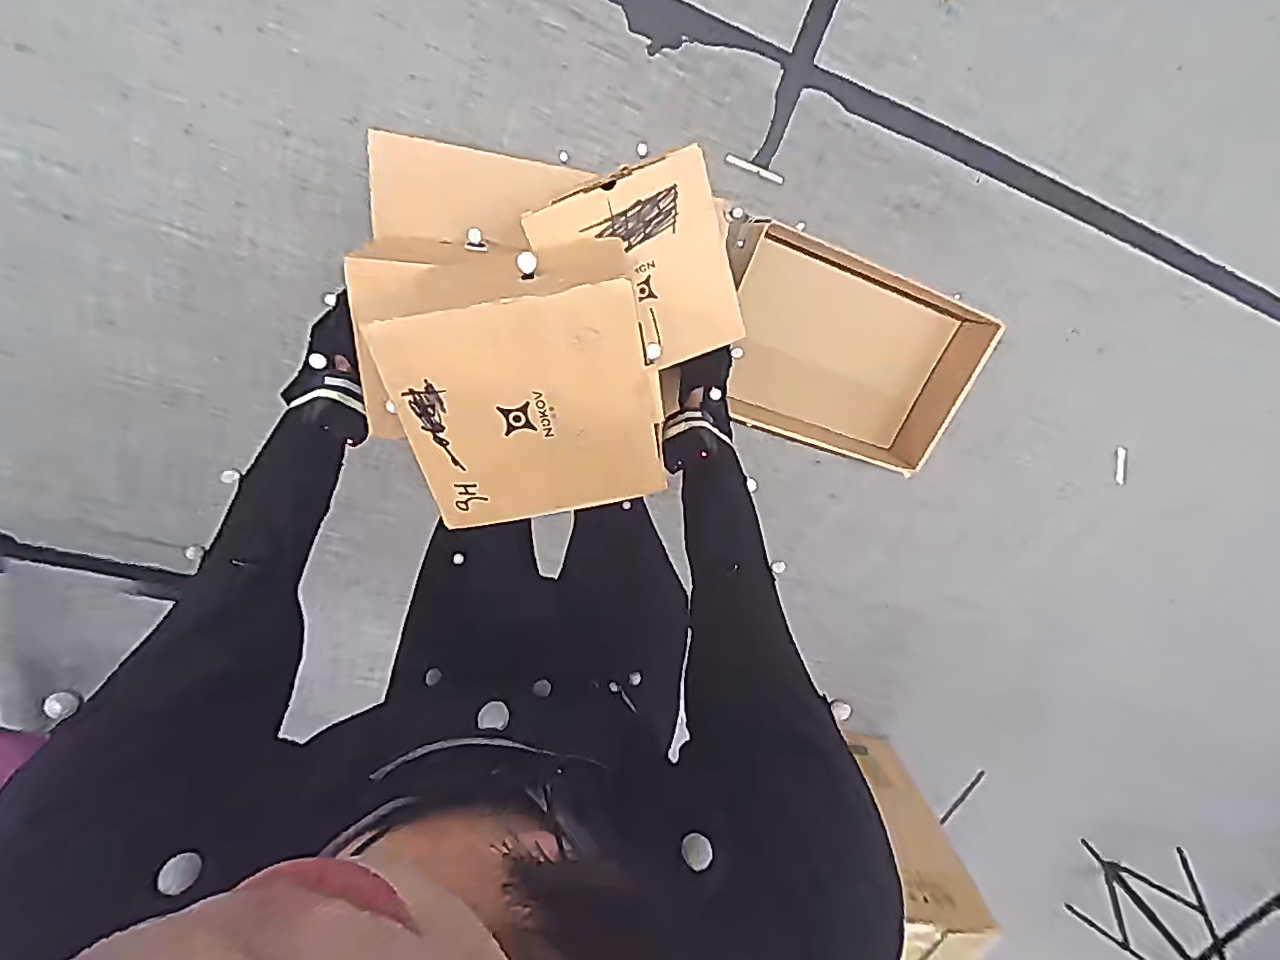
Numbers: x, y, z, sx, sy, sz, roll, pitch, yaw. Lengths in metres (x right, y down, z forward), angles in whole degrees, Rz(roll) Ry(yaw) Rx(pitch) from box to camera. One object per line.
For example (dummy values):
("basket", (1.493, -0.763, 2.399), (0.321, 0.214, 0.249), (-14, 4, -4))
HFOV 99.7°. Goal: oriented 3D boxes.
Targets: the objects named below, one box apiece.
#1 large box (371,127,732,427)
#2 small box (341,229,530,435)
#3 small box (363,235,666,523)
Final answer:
("large box", (-0.128, -0.293, 0.793), (0.408, 0.320, 0.320), (5, 120, -11))
("small box", (-0.193, -0.159, 0.580), (0.168, 0.176, 0.179), (1, 119, -10))
("small box", (-0.084, -0.091, 0.441), (0.179, 0.176, 0.168), (-10, 122, 0))
